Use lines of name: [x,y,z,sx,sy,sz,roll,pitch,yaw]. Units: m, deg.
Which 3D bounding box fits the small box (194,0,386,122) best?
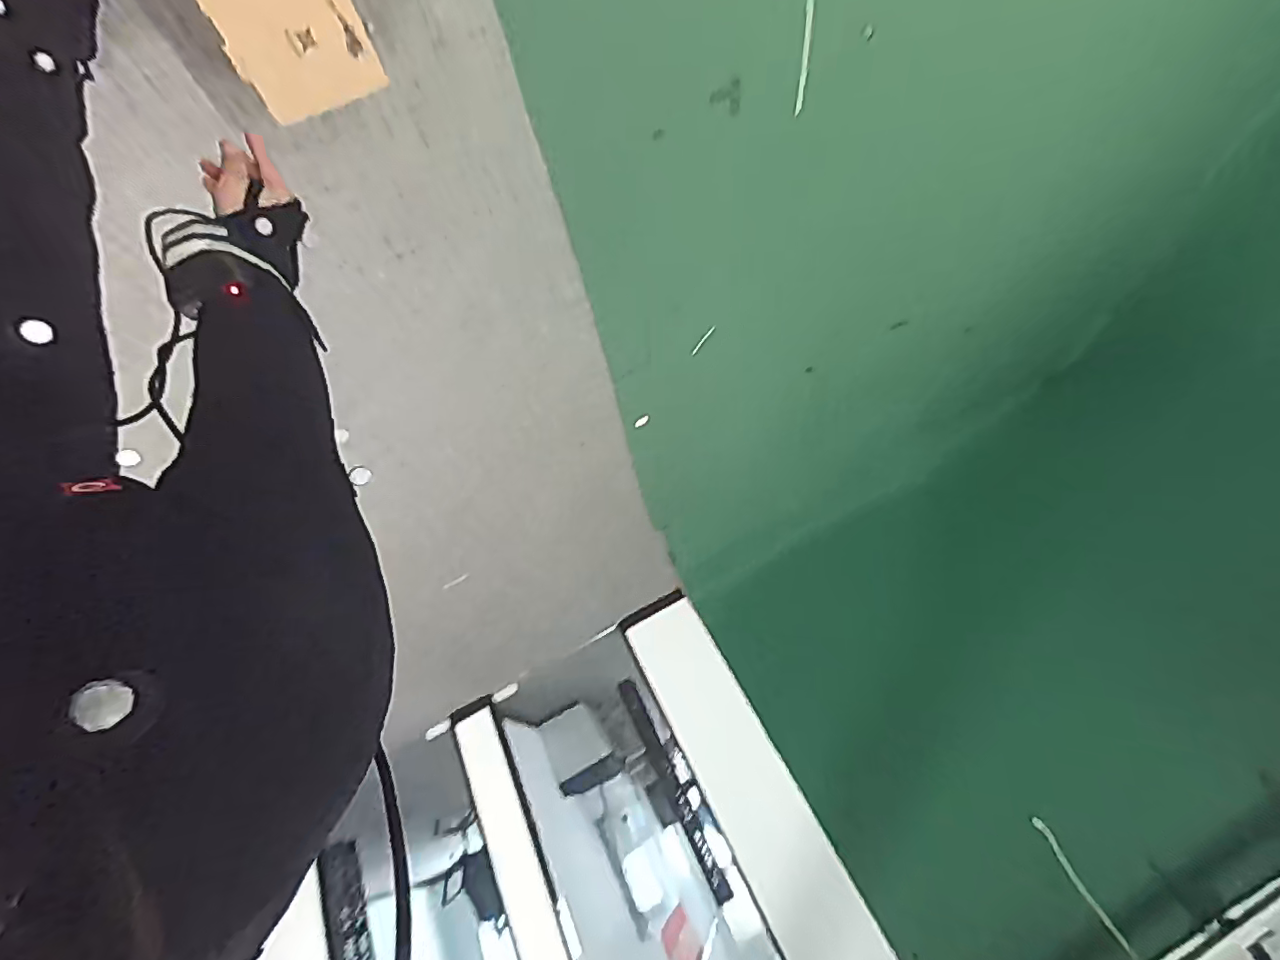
small box: [-0.496,-0.654,0.767,0.179,0.176,0.168,-25,150,-7]
